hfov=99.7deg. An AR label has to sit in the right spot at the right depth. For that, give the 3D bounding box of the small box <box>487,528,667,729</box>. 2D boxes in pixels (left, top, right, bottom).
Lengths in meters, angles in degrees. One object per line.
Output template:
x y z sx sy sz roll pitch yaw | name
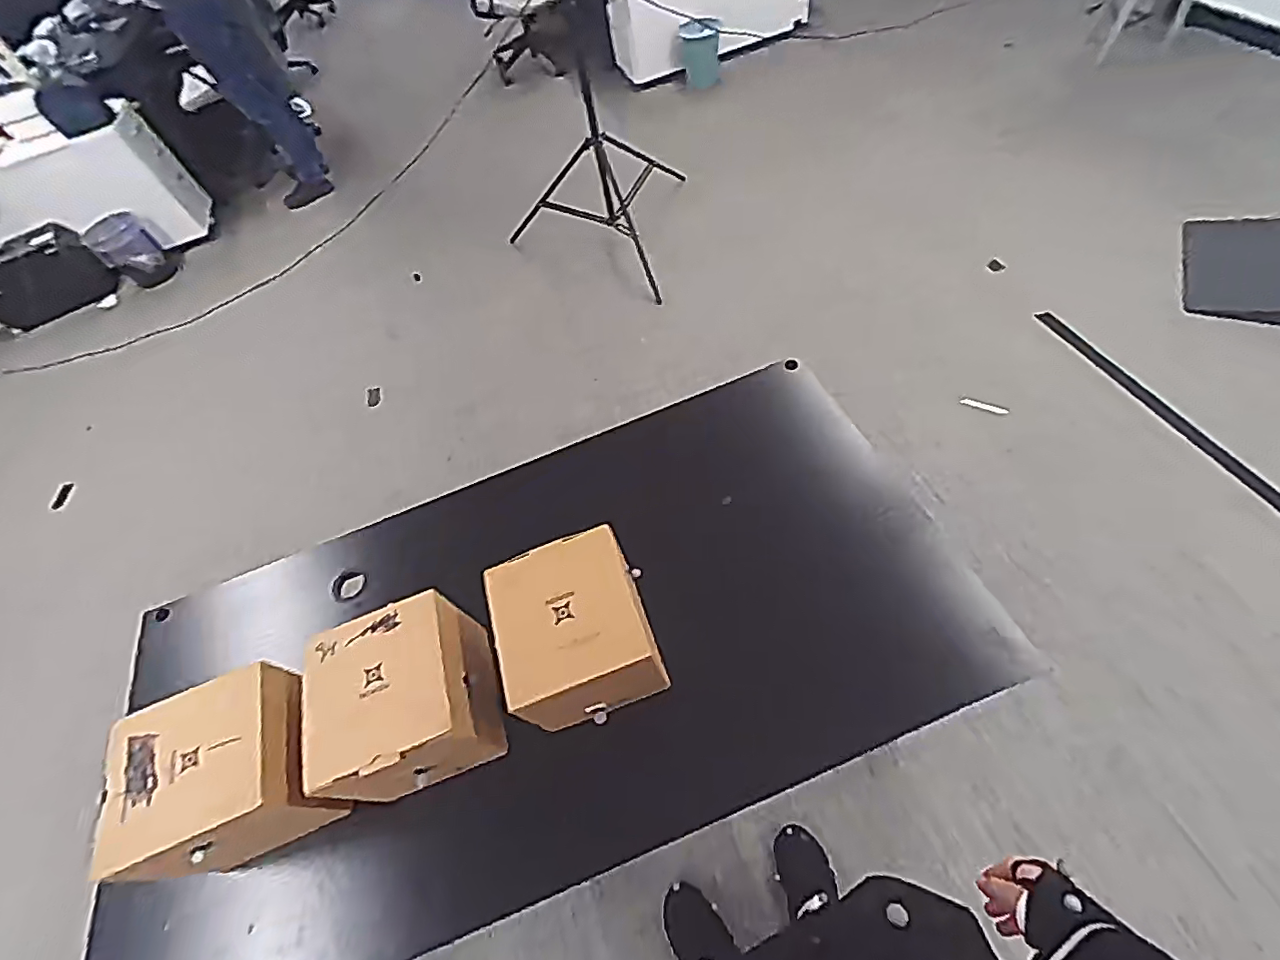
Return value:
-0.076 0.196 0.697 0.168 0.176 0.179 -22 57 -2 | small box

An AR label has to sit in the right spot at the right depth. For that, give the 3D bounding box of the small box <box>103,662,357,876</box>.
-0.485 0.356 0.668 0.179 0.176 0.168 -23 57 -6 | small box
